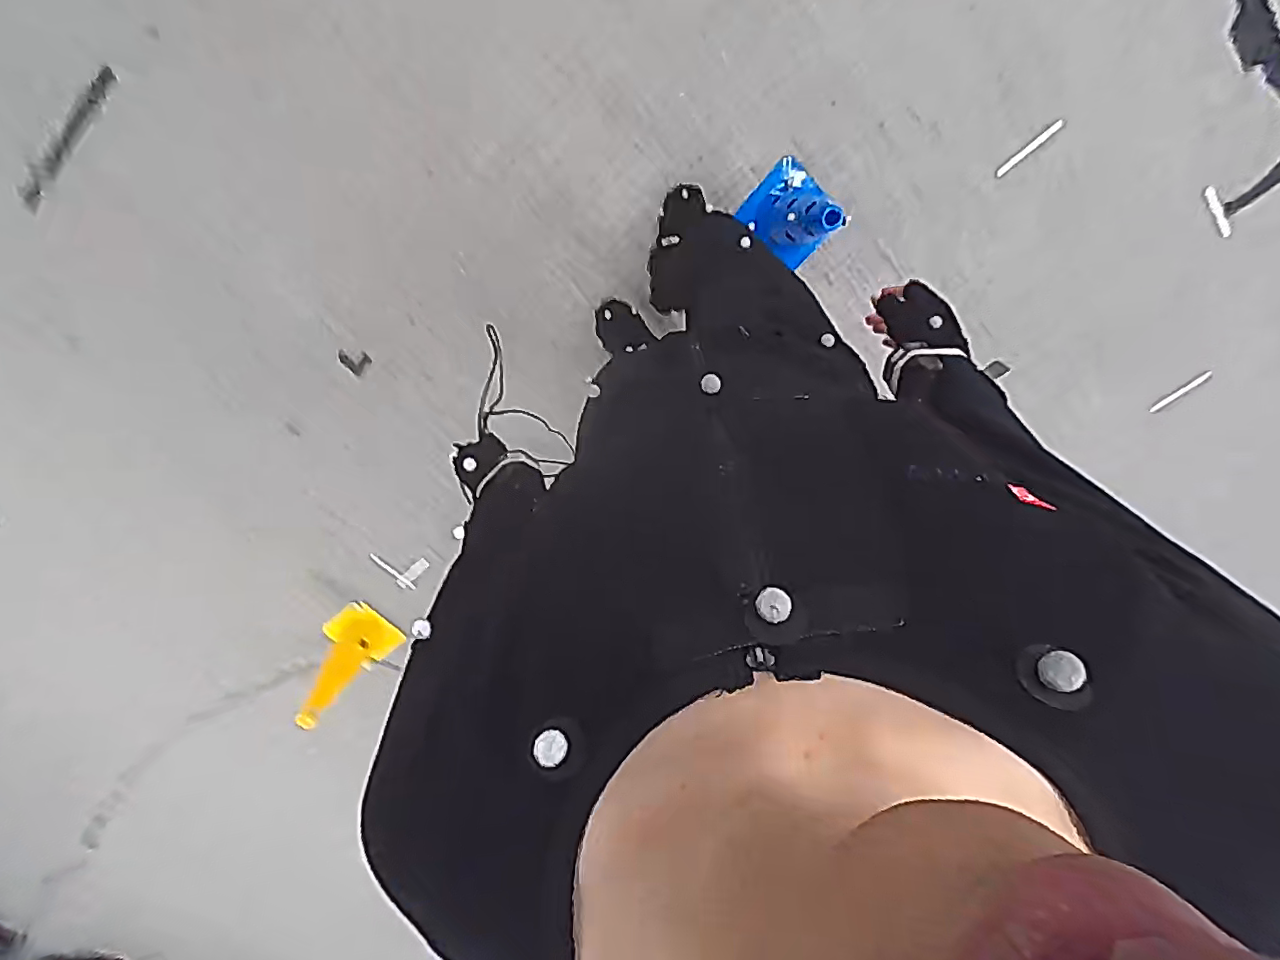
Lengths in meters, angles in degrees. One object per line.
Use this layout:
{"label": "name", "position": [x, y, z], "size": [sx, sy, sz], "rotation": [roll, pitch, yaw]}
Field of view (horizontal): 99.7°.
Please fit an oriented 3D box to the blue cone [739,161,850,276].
{"label": "blue cone", "position": [0.342, -0.532, 1.102], "size": [0.192, 0.380, 0.193], "rotation": [39, 109, -17]}
